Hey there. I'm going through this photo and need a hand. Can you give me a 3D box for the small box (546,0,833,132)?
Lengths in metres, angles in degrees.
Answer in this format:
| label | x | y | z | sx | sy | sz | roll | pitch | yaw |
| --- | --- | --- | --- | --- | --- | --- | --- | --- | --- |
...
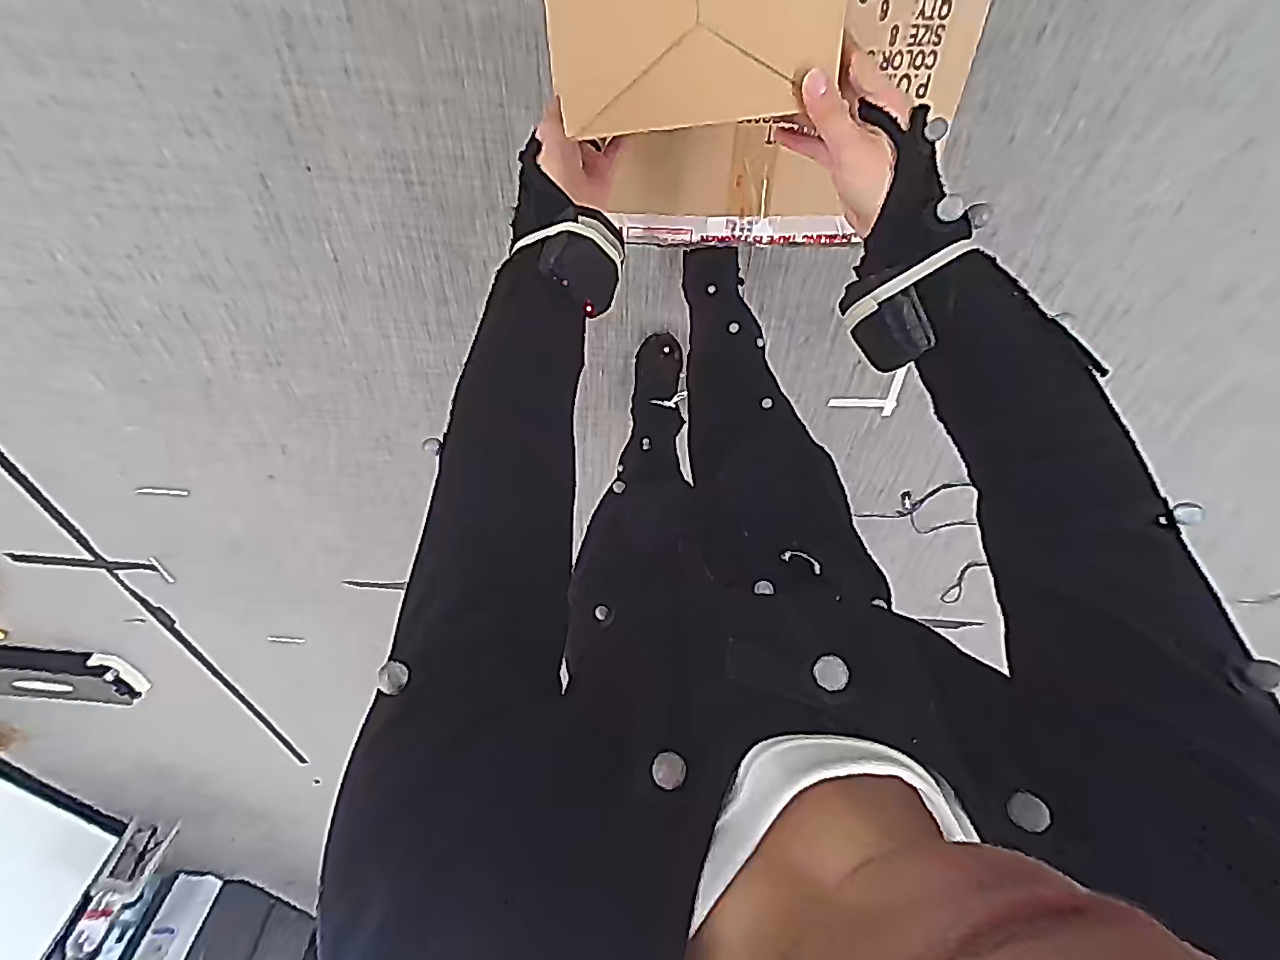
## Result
| label | x | y | z | sx | sy | sz | roll | pitch | yaw |
| --- | --- | --- | --- | --- | --- | --- | --- | --- | --- |
| small box | 0.026 | -0.348 | 0.361 | 0.179 | 0.176 | 0.168 | -7 | 132 | 0 |
